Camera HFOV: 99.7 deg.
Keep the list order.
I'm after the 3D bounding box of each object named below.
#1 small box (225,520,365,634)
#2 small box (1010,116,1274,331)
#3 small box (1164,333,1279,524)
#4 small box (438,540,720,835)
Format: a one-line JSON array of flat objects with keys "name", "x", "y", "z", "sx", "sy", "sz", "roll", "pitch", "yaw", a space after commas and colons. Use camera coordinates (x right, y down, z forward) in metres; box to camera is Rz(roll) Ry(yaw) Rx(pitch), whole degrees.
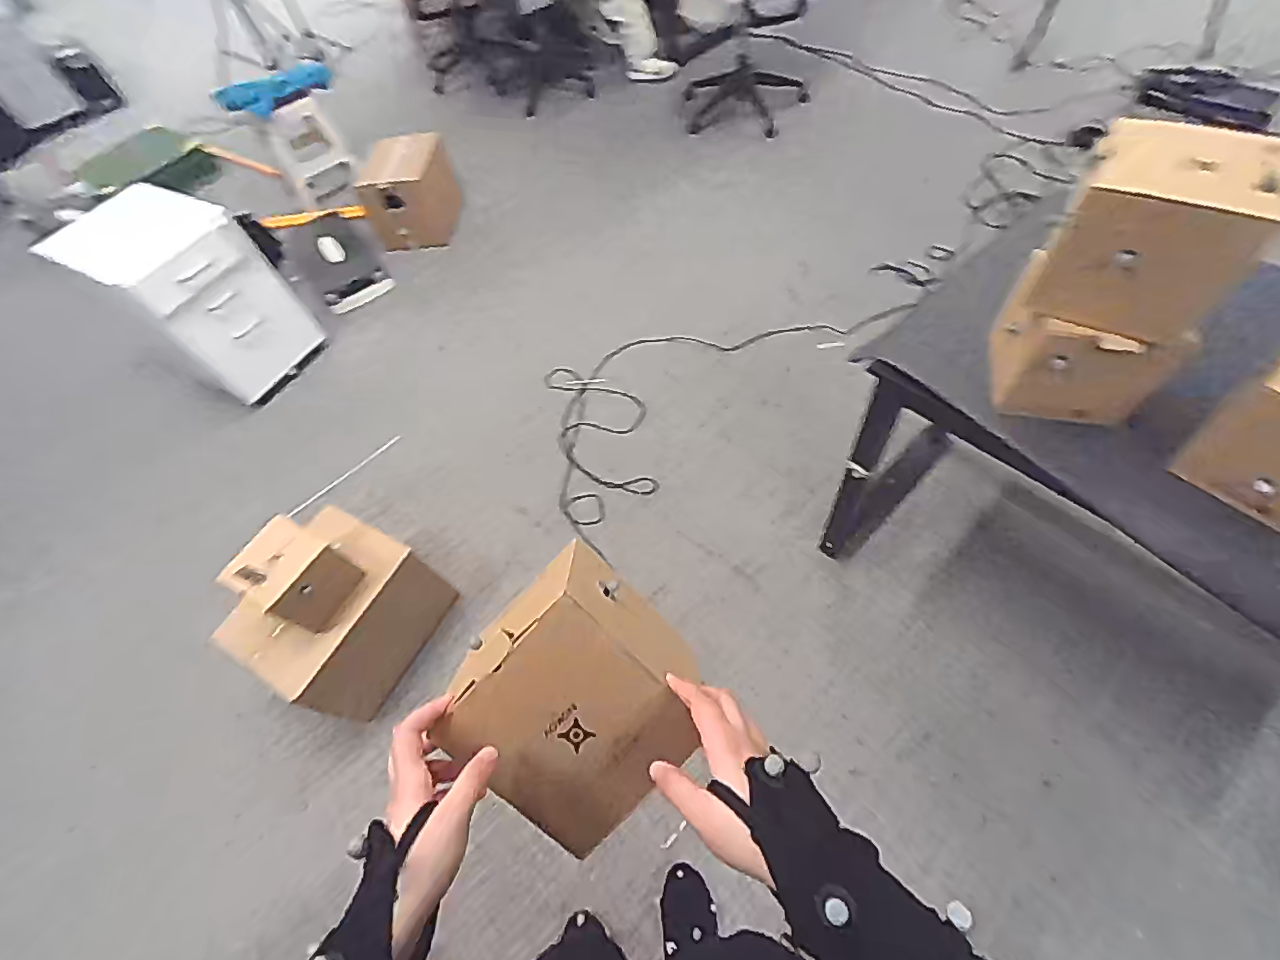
[{"name": "small box", "x": -0.779, "y": 0.228, "z": 1.243, "sx": 0.168, "sy": 0.176, "sz": 0.179, "roll": 23, "pitch": 64, "yaw": 19}, {"name": "small box", "x": 0.597, "y": -0.312, "z": 0.665, "sx": 0.179, "sy": 0.176, "sz": 0.168, "roll": 25, "pitch": 65, "yaw": 24}, {"name": "small box", "x": 0.828, "y": -0.078, "z": 0.676, "sx": 0.179, "sy": 0.176, "sz": 0.168, "roll": -38, "pitch": 59, "yaw": -15}, {"name": "small box", "x": -0.052, "y": 0.177, "z": 0.523, "sx": 0.179, "sy": 0.176, "sz": 0.168, "roll": 43, "pitch": 96, "yaw": -8}]
